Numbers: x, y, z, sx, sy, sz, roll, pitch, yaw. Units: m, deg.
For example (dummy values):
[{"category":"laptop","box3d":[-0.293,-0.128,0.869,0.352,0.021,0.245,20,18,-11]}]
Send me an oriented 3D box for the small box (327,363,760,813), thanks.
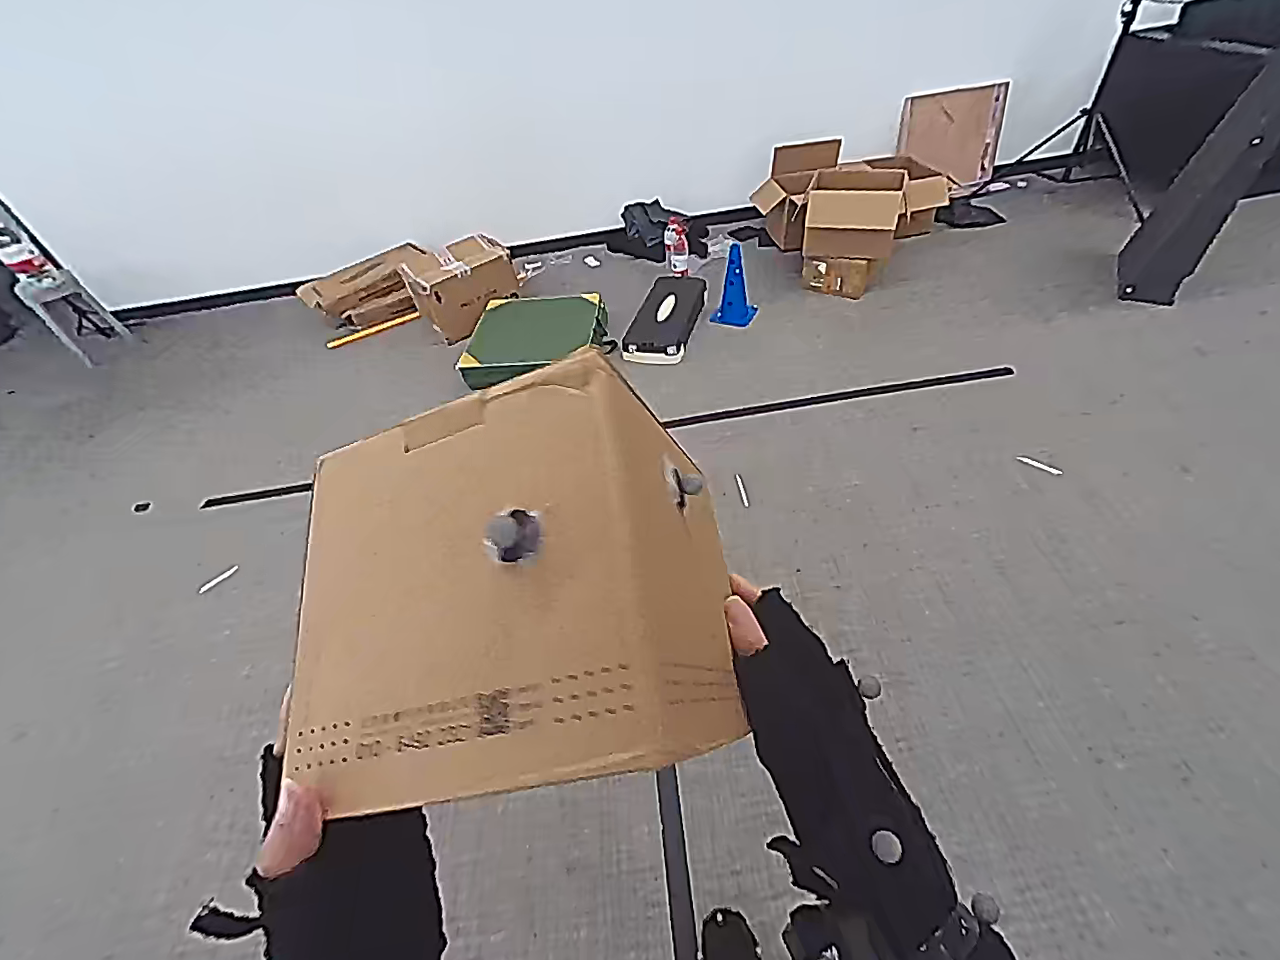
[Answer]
[{"category":"small box","box3d":[-0.041,0.071,0.299,0.168,0.179,0.176,-16,65,16]}]
